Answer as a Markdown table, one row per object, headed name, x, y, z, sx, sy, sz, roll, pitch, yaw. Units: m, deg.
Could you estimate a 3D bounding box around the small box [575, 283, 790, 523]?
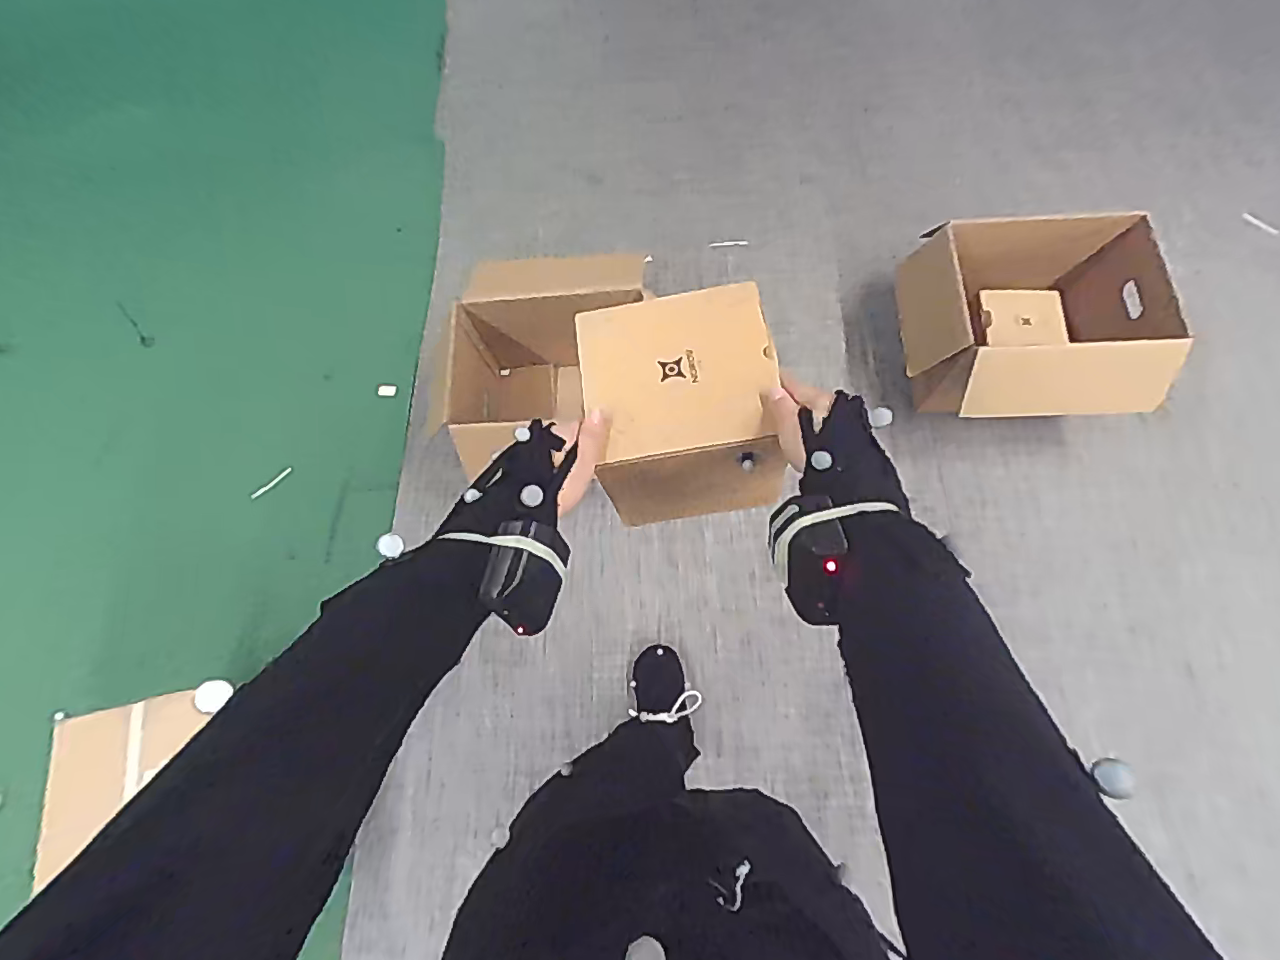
| name | x | y | z | sx | sy | sz | roll | pitch | yaw |
| --- | --- | --- | --- | --- | --- | --- | --- | --- | --- |
| small box | 0.040 | -0.066 | 0.550 | 0.179 | 0.176 | 0.168 | -9 | 65 | 3 |
